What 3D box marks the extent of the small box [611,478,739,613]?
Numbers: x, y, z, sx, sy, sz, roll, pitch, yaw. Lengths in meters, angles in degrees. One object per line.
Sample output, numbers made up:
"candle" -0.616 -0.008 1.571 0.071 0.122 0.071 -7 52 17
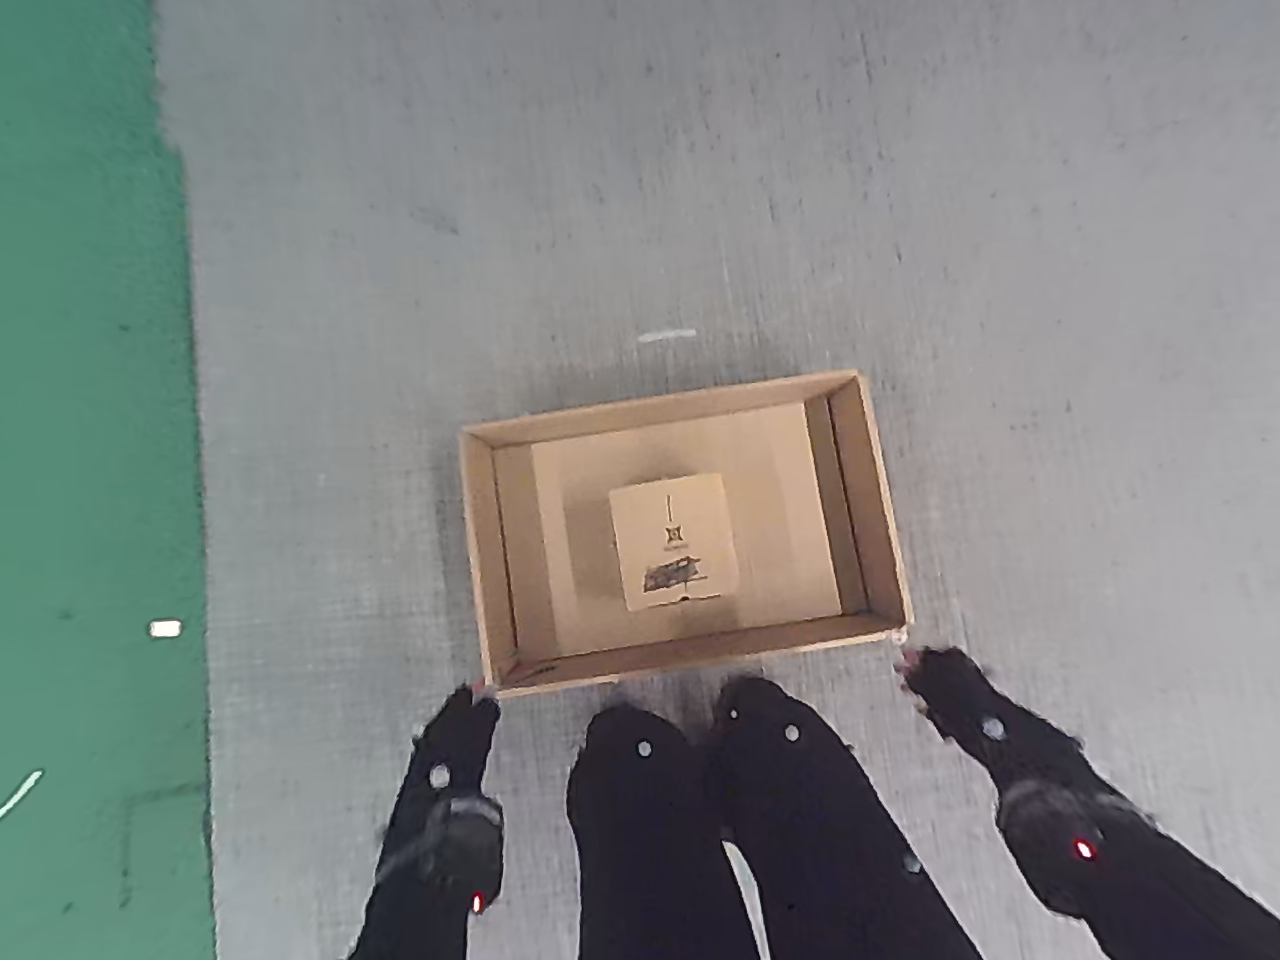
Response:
"small box" 0.051 0.100 0.851 0.168 0.176 0.179 -9 83 0
